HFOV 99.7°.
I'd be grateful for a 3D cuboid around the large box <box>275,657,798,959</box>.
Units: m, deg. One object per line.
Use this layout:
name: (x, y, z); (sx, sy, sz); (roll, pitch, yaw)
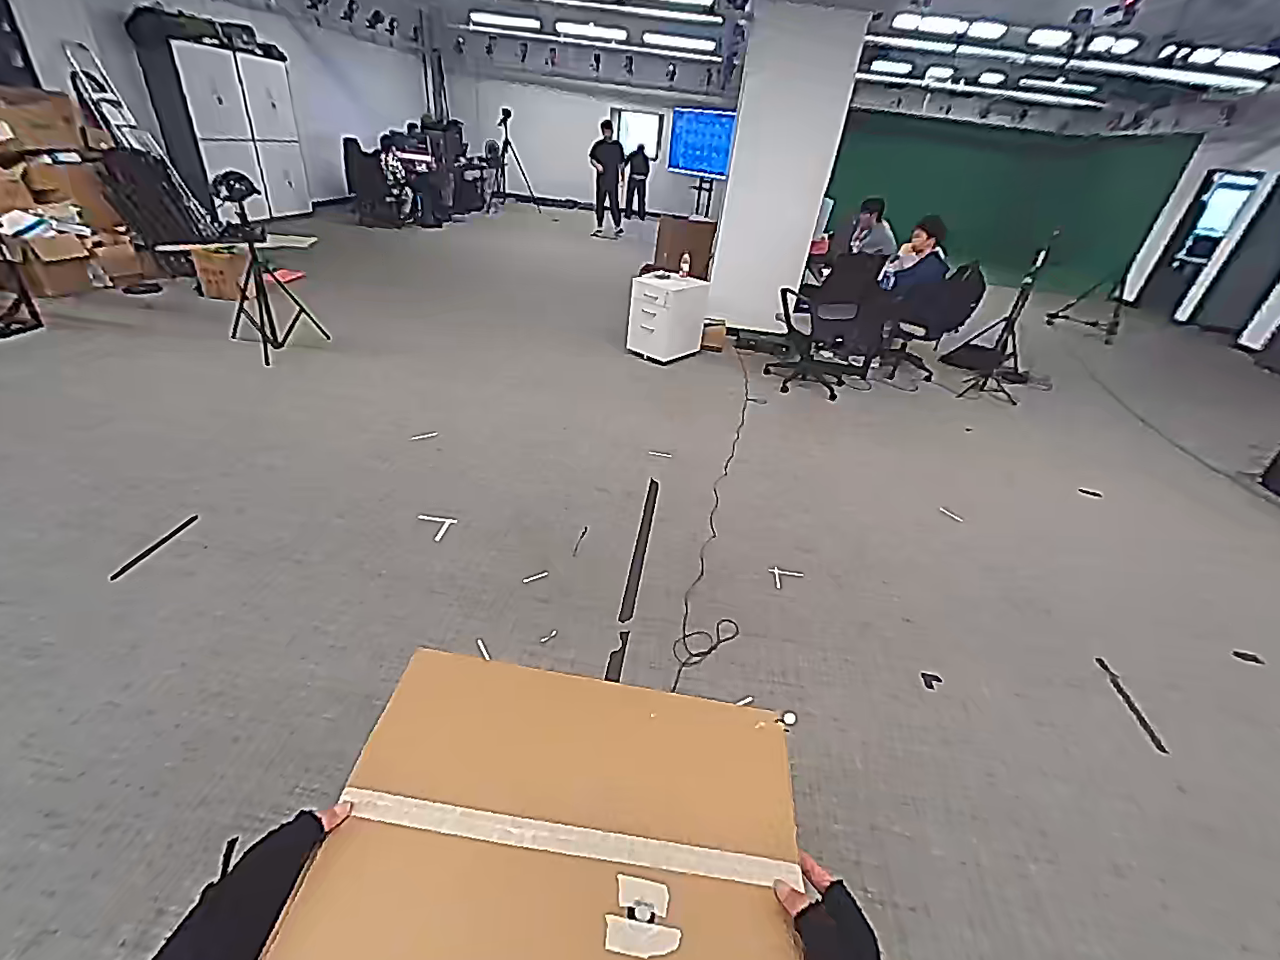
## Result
large box: (-0.084, 0.435, 0.570); (0.408, 0.320, 0.320); (11, 38, 0)
